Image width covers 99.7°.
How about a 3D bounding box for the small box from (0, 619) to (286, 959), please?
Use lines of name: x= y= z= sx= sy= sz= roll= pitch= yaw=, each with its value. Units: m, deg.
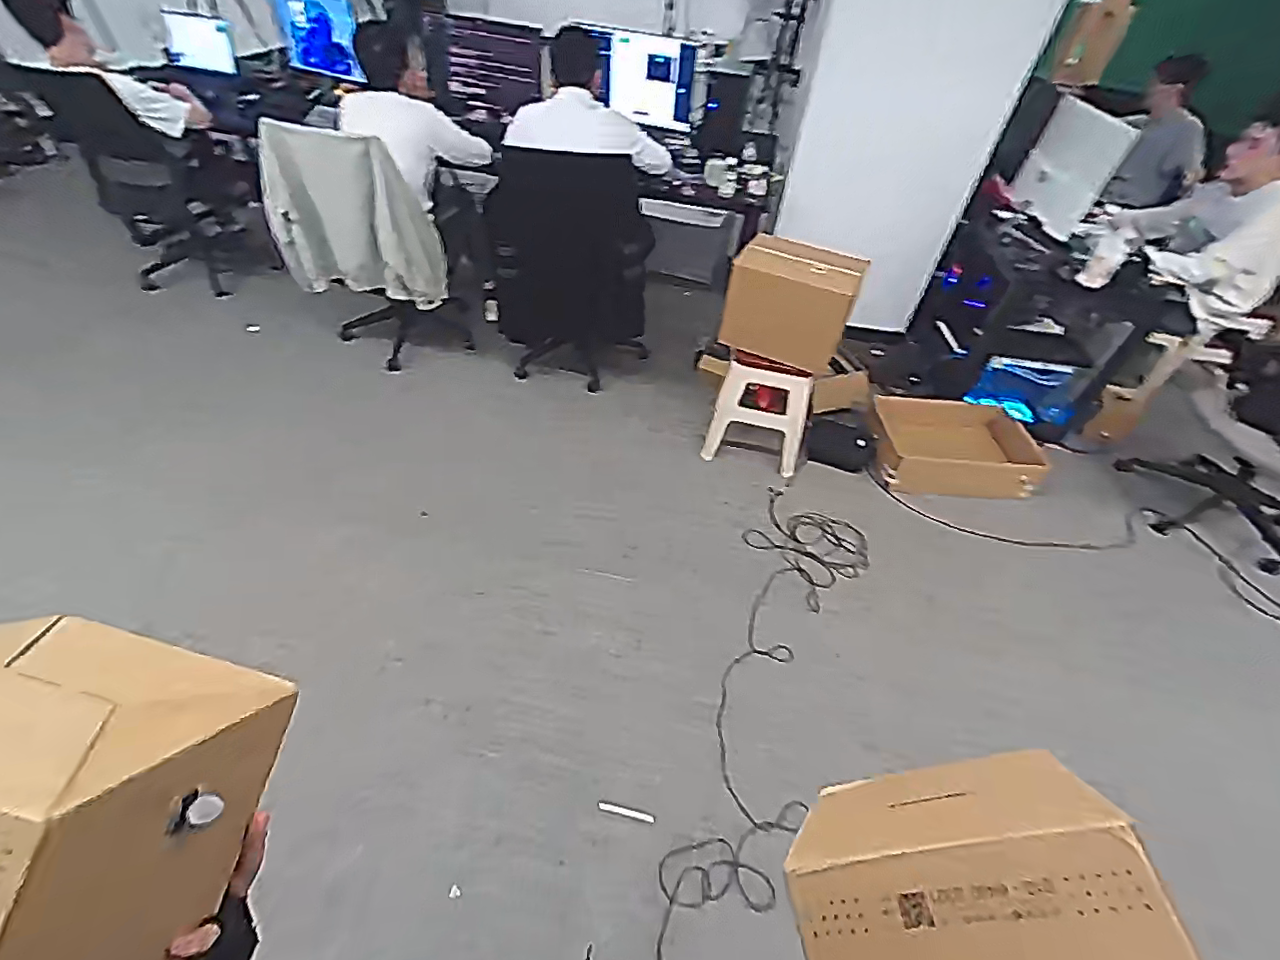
small box: x=-0.323 y=0.177 z=0.263 sx=0.168 sy=0.179 sz=0.176 roll=18 pitch=83 yaw=-3
